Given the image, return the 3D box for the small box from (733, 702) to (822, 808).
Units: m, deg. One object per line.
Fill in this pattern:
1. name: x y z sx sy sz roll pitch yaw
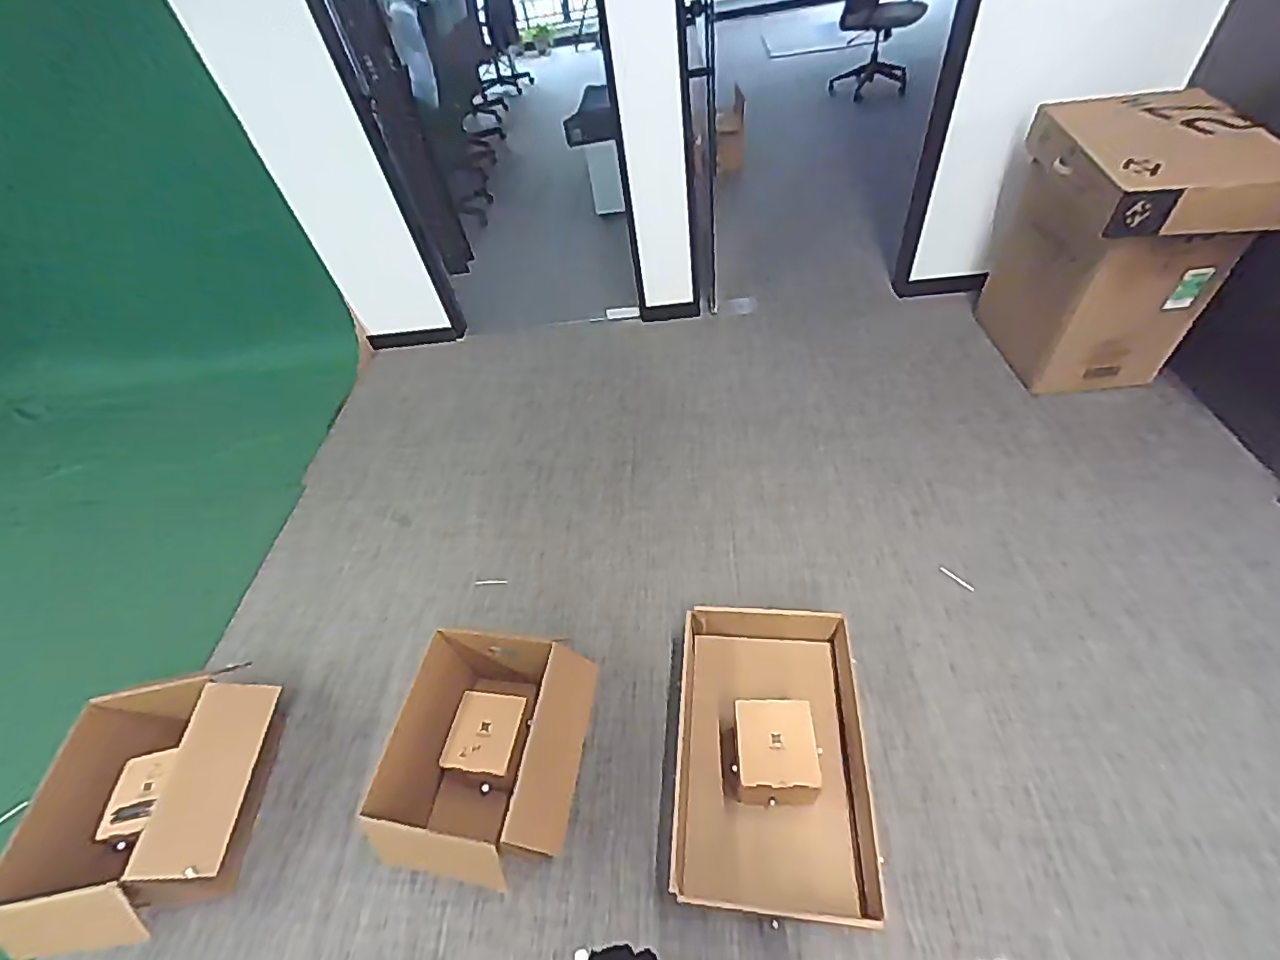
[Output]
1. small box: 0.298 0.616 1.211 0.168 0.176 0.179 -3 48 6
